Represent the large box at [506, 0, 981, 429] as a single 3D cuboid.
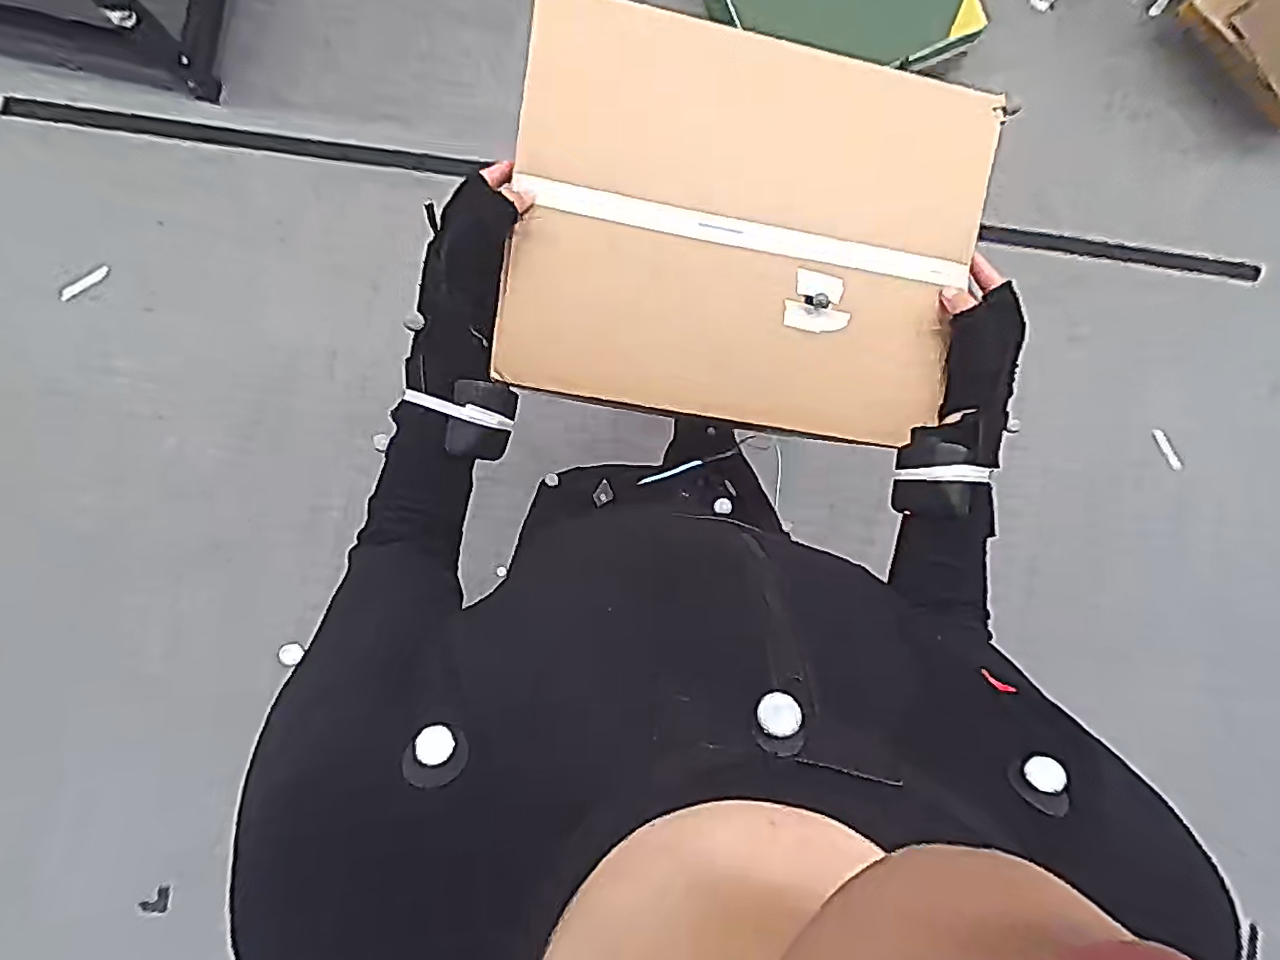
[{"bbox_3d":[0.077,-0.241,0.627,0.408,0.320,0.320,8,97,-8],"label":"large box"}]
